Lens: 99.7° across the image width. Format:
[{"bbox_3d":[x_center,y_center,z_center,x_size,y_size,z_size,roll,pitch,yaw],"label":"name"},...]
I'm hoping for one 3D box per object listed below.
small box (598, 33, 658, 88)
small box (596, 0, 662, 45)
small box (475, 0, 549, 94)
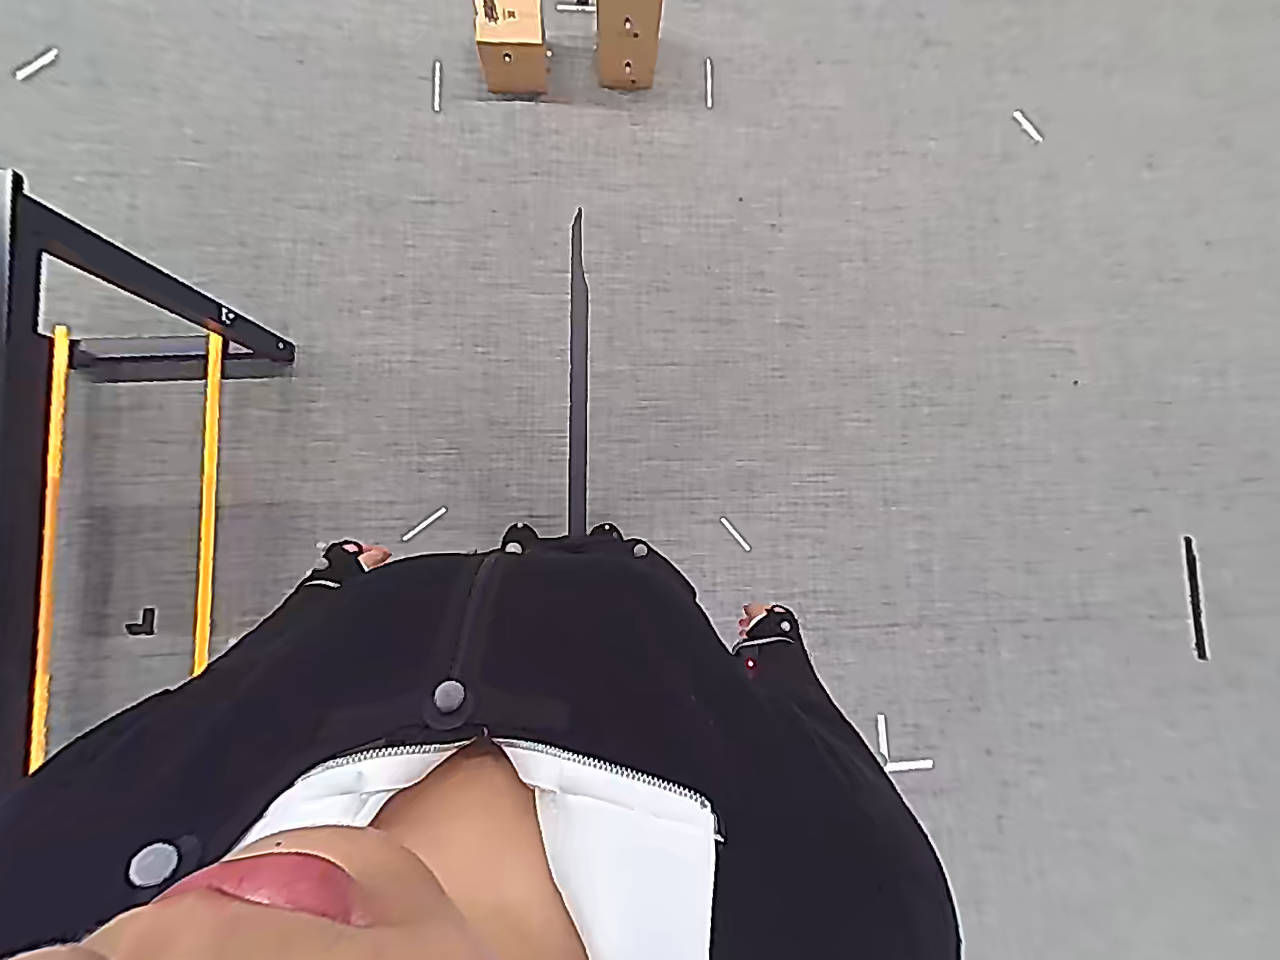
[{"bbox_3d":[-0.036,-1.261,1.541,0.168,0.176,0.179,-1,86,-4],"label":"small box"},{"bbox_3d":[-0.028,-1.267,1.375,0.168,0.176,0.179,1,86,-4],"label":"small box"},{"bbox_3d":[-0.353,-1.221,1.514,0.179,0.176,0.168,-3,86,-4],"label":"small box"}]
